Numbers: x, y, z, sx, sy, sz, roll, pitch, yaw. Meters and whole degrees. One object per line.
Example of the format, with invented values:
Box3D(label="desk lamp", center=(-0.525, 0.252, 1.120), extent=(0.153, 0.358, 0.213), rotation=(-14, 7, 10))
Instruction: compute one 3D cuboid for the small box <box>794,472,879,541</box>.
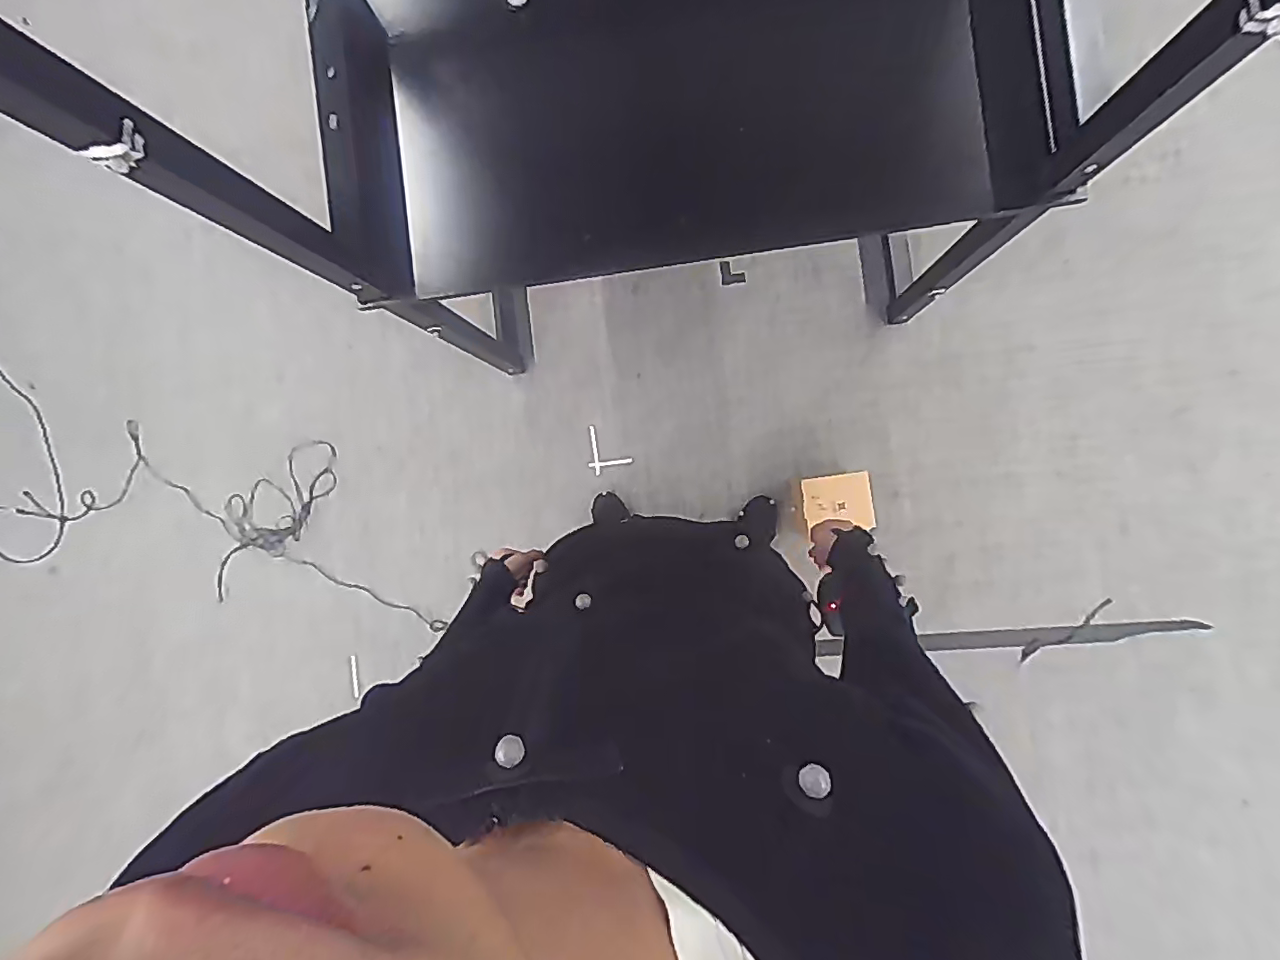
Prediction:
Box3D(label="small box", center=(0.534, 0.069, 1.489), extent=(0.179, 0.176, 0.168), rotation=(-8, 89, 8))
